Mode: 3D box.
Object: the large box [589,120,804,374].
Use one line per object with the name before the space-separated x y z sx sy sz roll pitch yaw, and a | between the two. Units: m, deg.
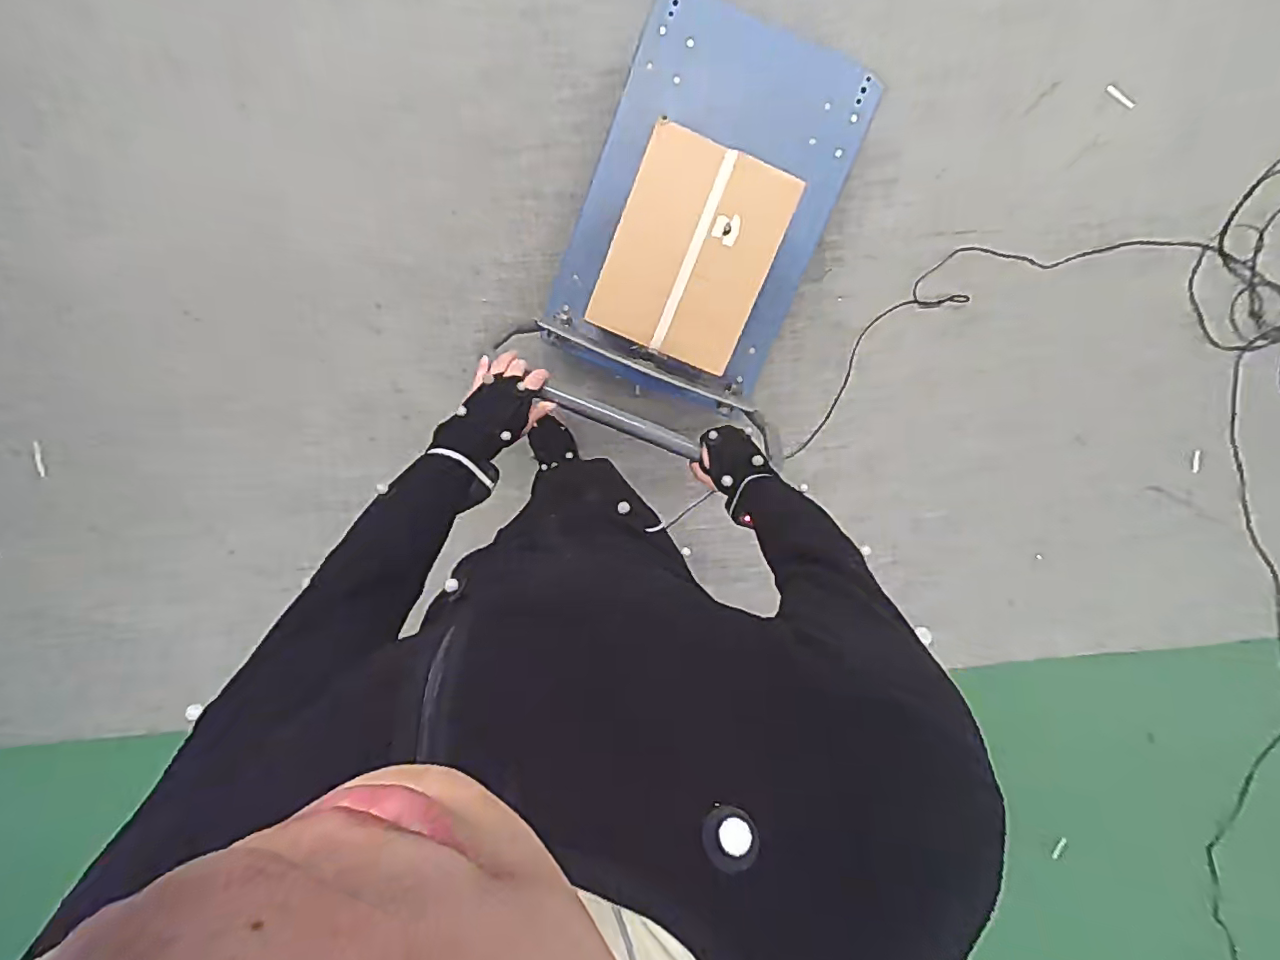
large box | 0.111 -0.481 1.221 0.320 0.320 0.408 22 102 -4
